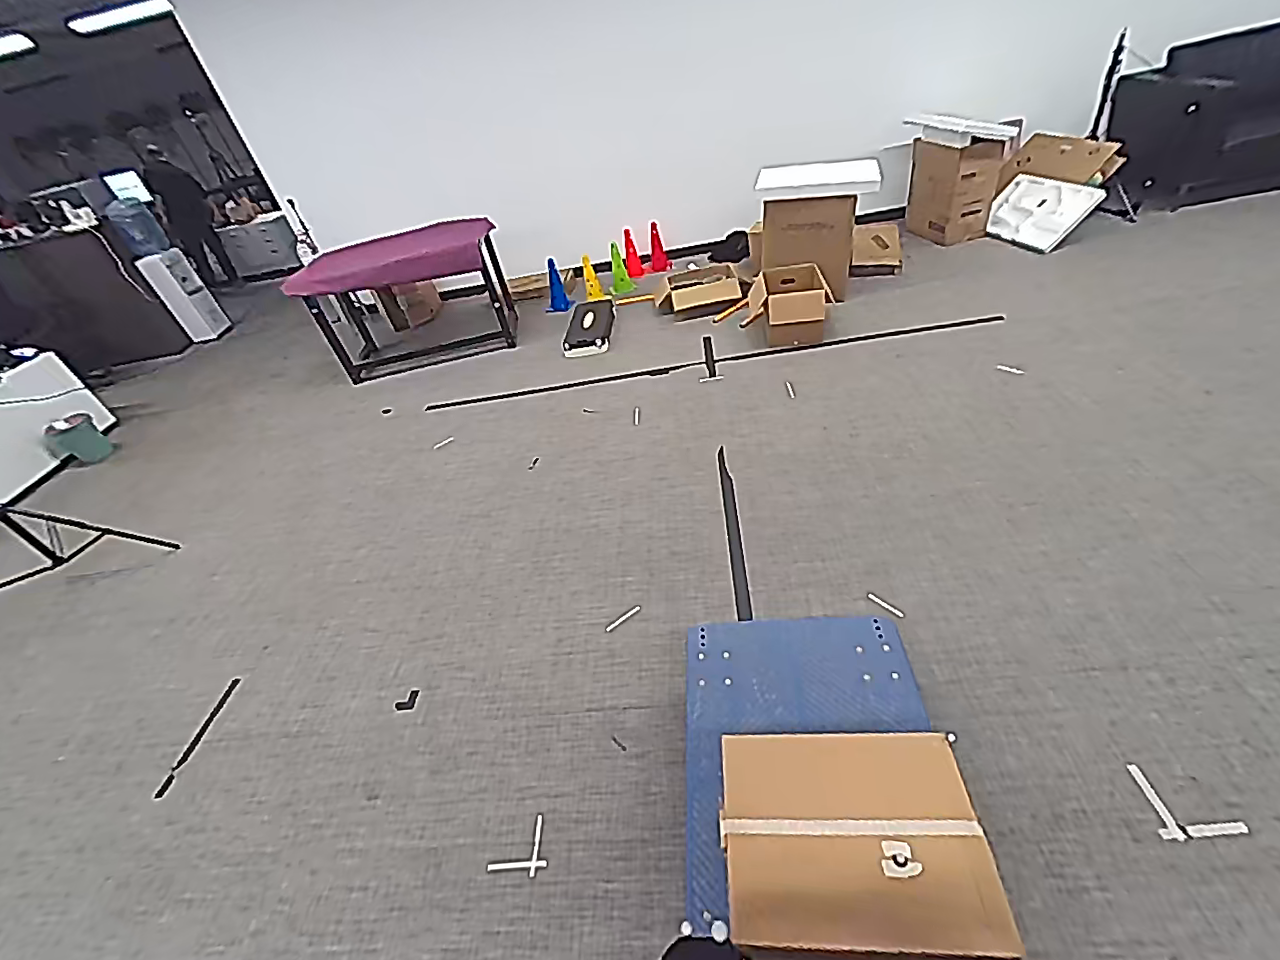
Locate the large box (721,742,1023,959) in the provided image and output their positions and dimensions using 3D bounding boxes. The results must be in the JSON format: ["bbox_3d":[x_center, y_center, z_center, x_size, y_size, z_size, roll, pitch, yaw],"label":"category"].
[{"bbox_3d":[0.363,0.698,0.975,0.408,0.320,0.320,-4,40,9],"label":"large box"}]
